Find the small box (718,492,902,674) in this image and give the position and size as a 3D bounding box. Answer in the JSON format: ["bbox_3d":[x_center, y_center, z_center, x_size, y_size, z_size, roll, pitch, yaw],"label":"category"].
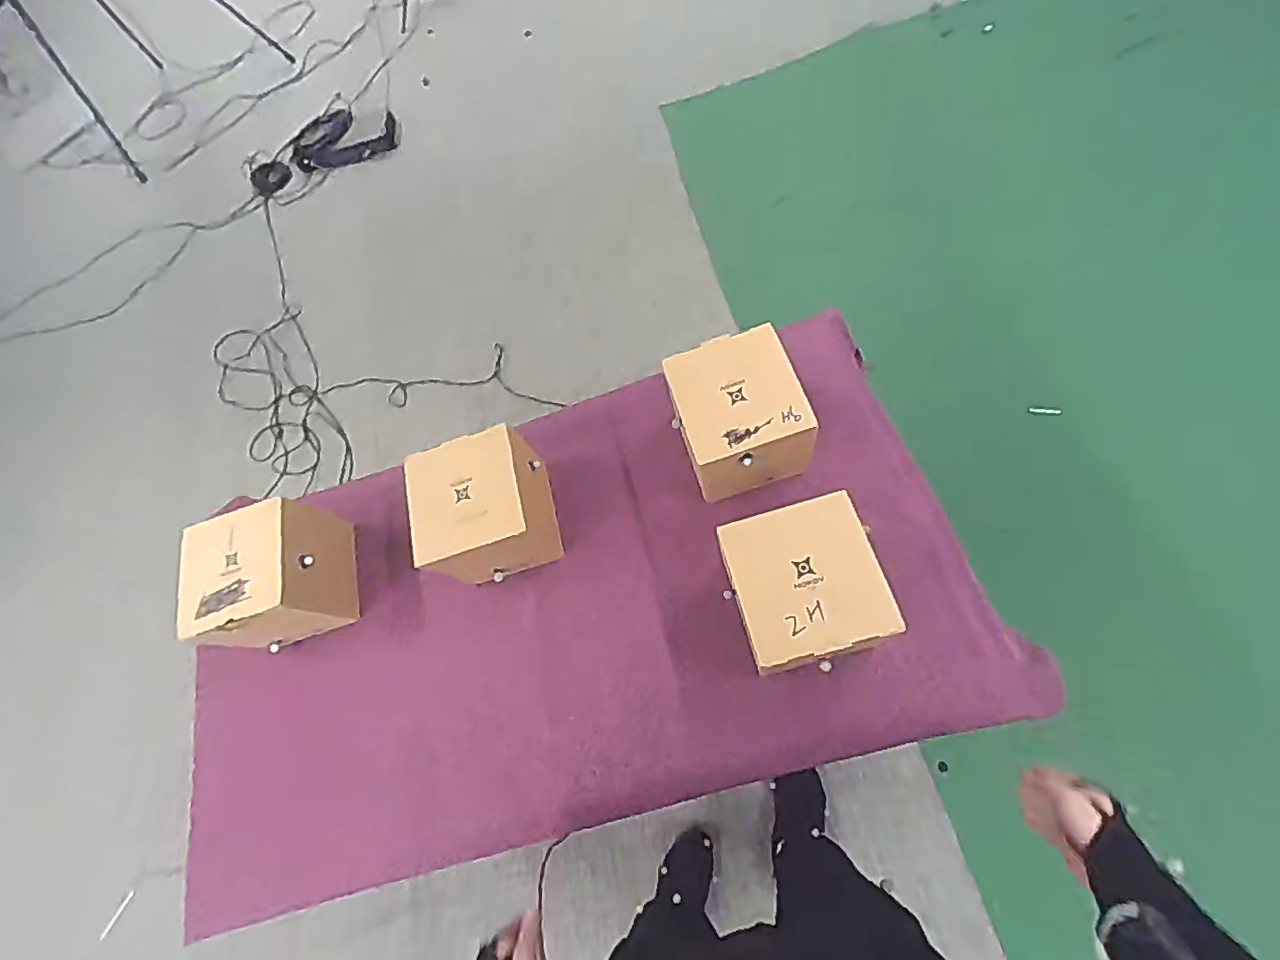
[{"bbox_3d":[0.206,0.142,0.703,0.168,0.176,0.179,-17,65,6],"label":"small box"}]

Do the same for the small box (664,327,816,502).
[{"bbox_3d":[0.145,-0.090,0.810,0.168,0.176,0.179,-19,67,5],"label":"small box"}]

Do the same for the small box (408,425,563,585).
[{"bbox_3d":[-0.233,0.046,0.836,0.168,0.176,0.179,-18,67,5],"label":"small box"}]

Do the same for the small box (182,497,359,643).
[{"bbox_3d":[-0.575,0.153,0.861,0.168,0.176,0.179,-18,66,3],"label":"small box"}]
